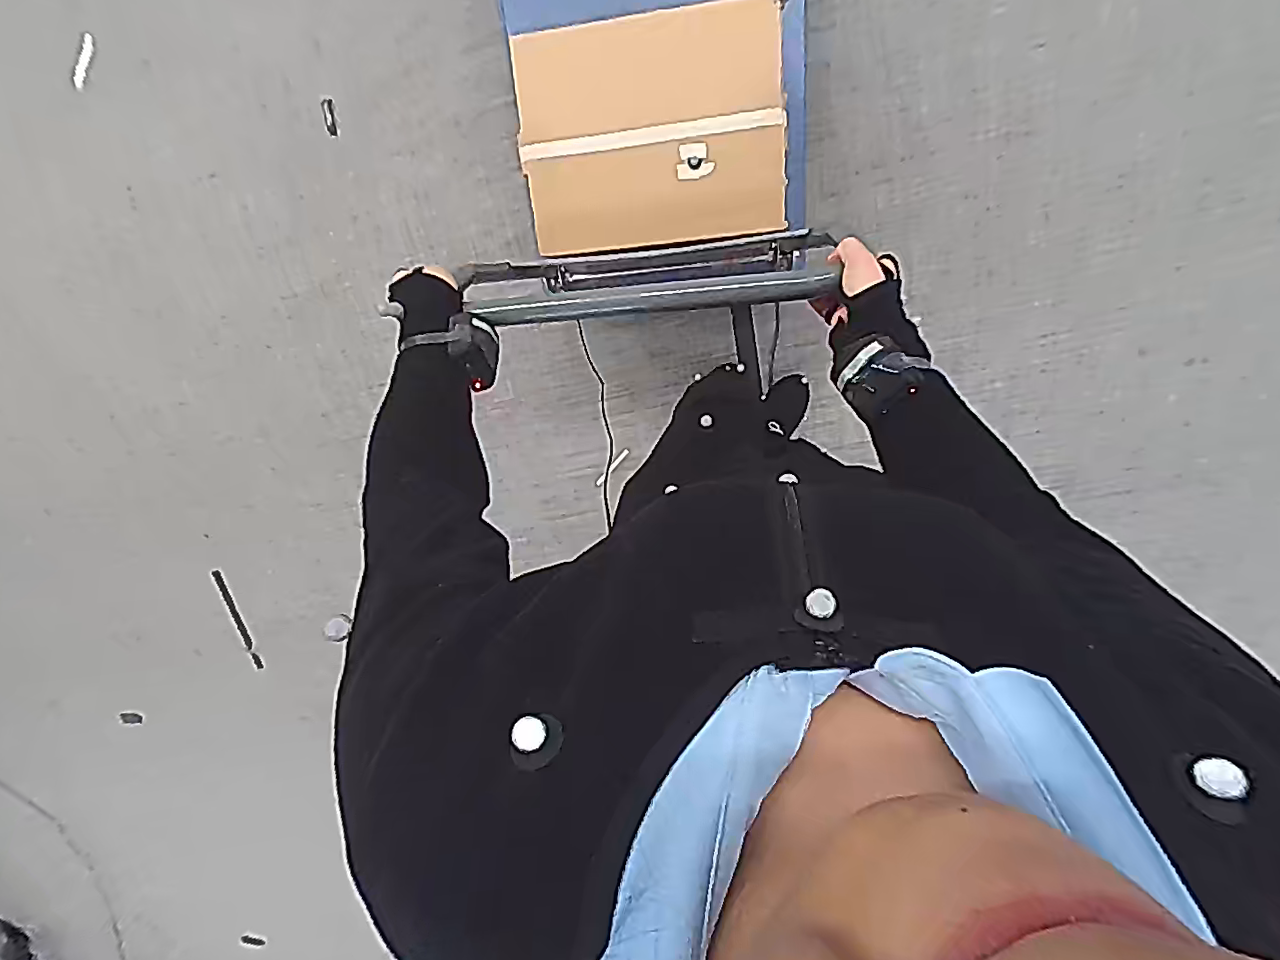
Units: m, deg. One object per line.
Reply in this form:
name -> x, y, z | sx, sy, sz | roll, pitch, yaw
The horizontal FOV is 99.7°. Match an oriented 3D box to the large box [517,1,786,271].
large box -> 0.035, -0.575, 0.985 | 0.408, 0.320, 0.320 | -3, 108, 7
